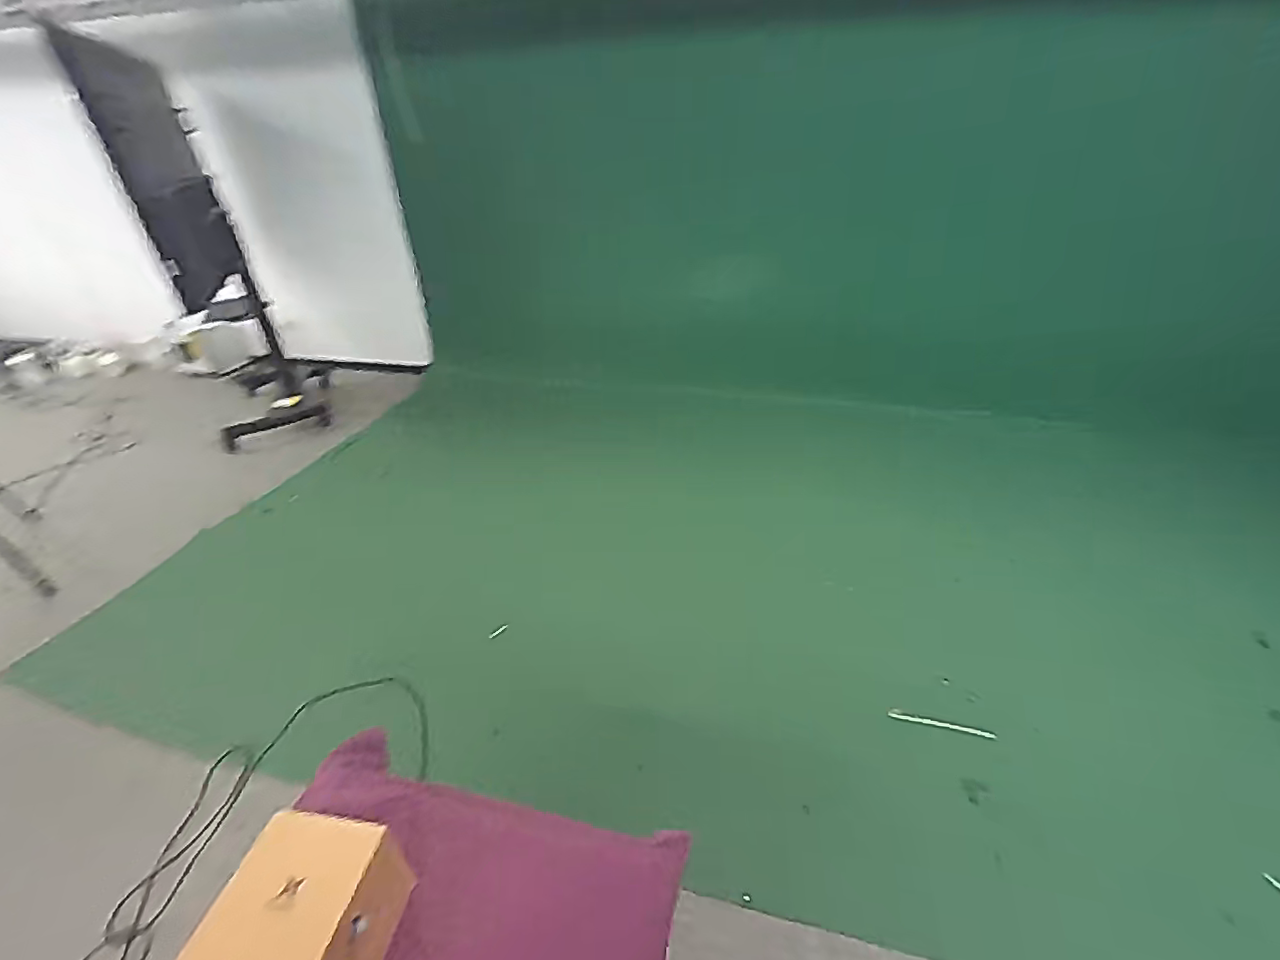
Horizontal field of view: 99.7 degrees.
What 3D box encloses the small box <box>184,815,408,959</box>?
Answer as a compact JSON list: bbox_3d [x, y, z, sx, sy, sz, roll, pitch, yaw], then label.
[{"bbox_3d":[-0.430,0.583,0.711,0.168,0.176,0.179,3,35,8],"label":"small box"}]
